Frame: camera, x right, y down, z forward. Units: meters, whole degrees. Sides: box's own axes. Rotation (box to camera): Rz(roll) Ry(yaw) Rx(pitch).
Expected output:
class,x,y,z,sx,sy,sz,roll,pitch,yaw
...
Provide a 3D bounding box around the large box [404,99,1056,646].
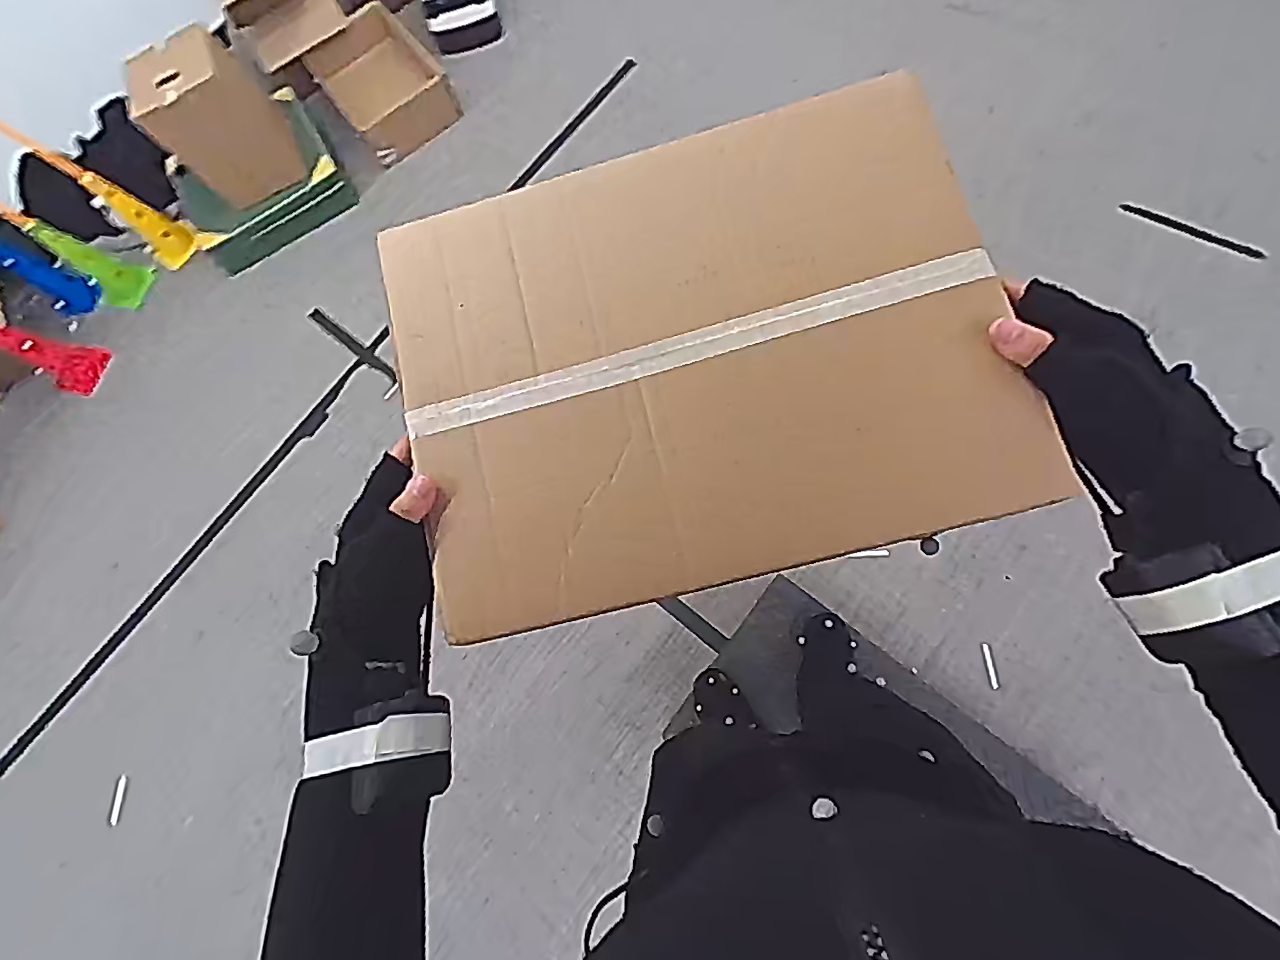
class,x,y,z,sx,sy,sz,roll,pitch,yaw
large box,0.059,-0.060,0.527,0.408,0.320,0.320,-14,79,5

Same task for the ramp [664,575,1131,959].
class,x,y,z,sx,sy,sz,roll,pitch,yaw
ramp,0.593,0.704,1.269,0.991,0.206,0.509,34,81,17
